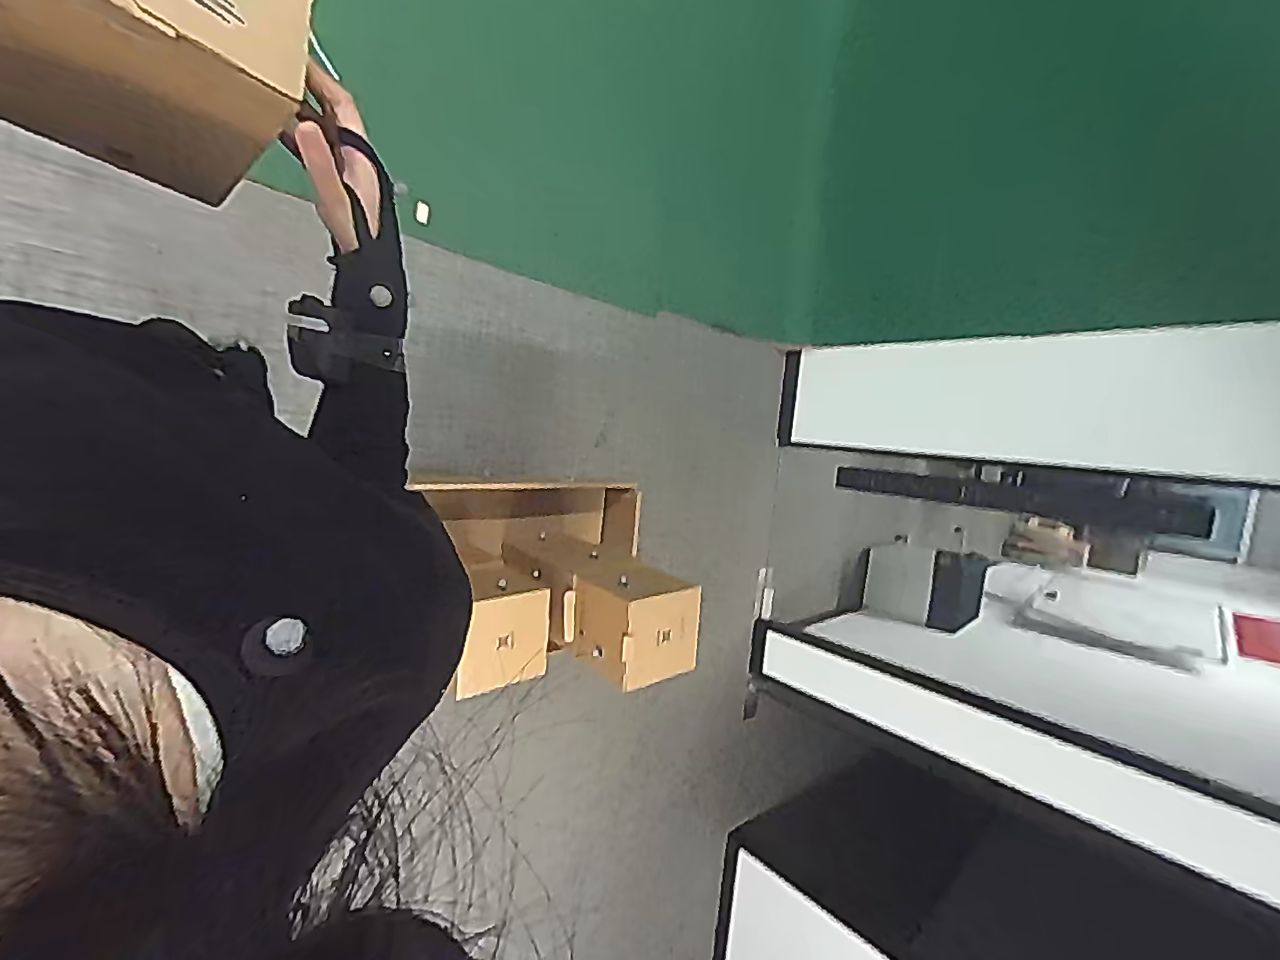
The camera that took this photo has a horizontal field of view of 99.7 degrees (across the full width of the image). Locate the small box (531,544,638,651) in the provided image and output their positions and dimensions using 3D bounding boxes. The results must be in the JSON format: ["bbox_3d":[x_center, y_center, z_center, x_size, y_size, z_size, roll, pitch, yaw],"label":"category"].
[{"bbox_3d":[-0.125,0.242,1.157,0.179,0.176,0.168,-6,101,-40],"label":"small box"}]

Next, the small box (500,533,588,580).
[{"bbox_3d":[-0.226,0.228,1.286,0.179,0.176,0.168,-3,100,-39],"label":"small box"}]

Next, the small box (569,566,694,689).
[{"bbox_3d":[-0.020,0.270,1.035,0.179,0.176,0.168,-1,99,-40],"label":"small box"}]

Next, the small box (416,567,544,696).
[{"bbox_3d":[-0.299,0.267,0.998,0.179,0.176,0.168,-1,98,-43],"label":"small box"}]
